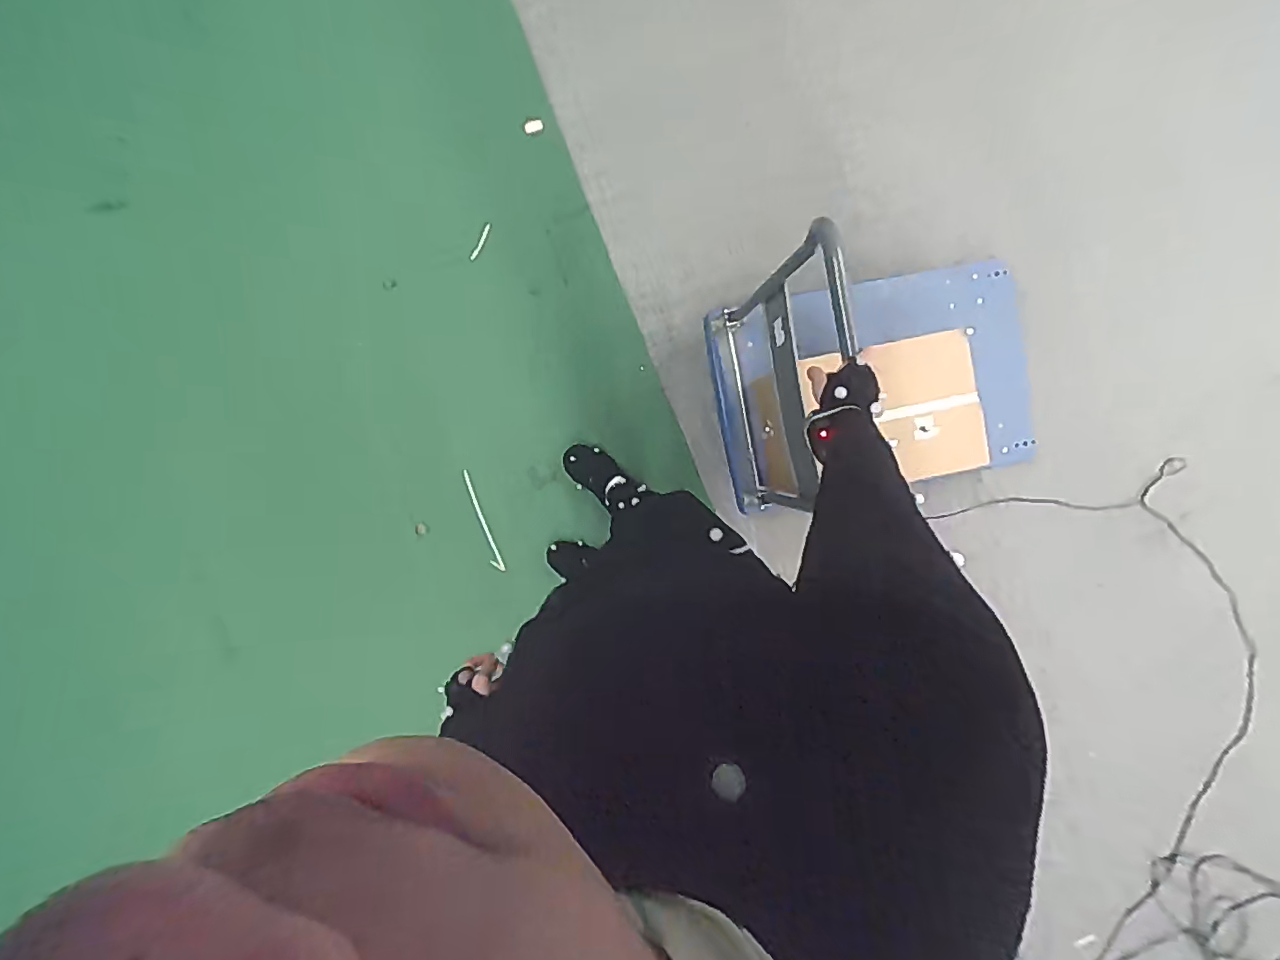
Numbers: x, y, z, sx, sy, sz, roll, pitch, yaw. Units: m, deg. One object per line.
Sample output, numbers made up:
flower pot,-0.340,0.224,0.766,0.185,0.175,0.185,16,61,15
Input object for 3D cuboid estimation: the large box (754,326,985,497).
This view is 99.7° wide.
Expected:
large box,0.543,-0.155,1.347,0.408,0.320,0.320,-12,93,-4
